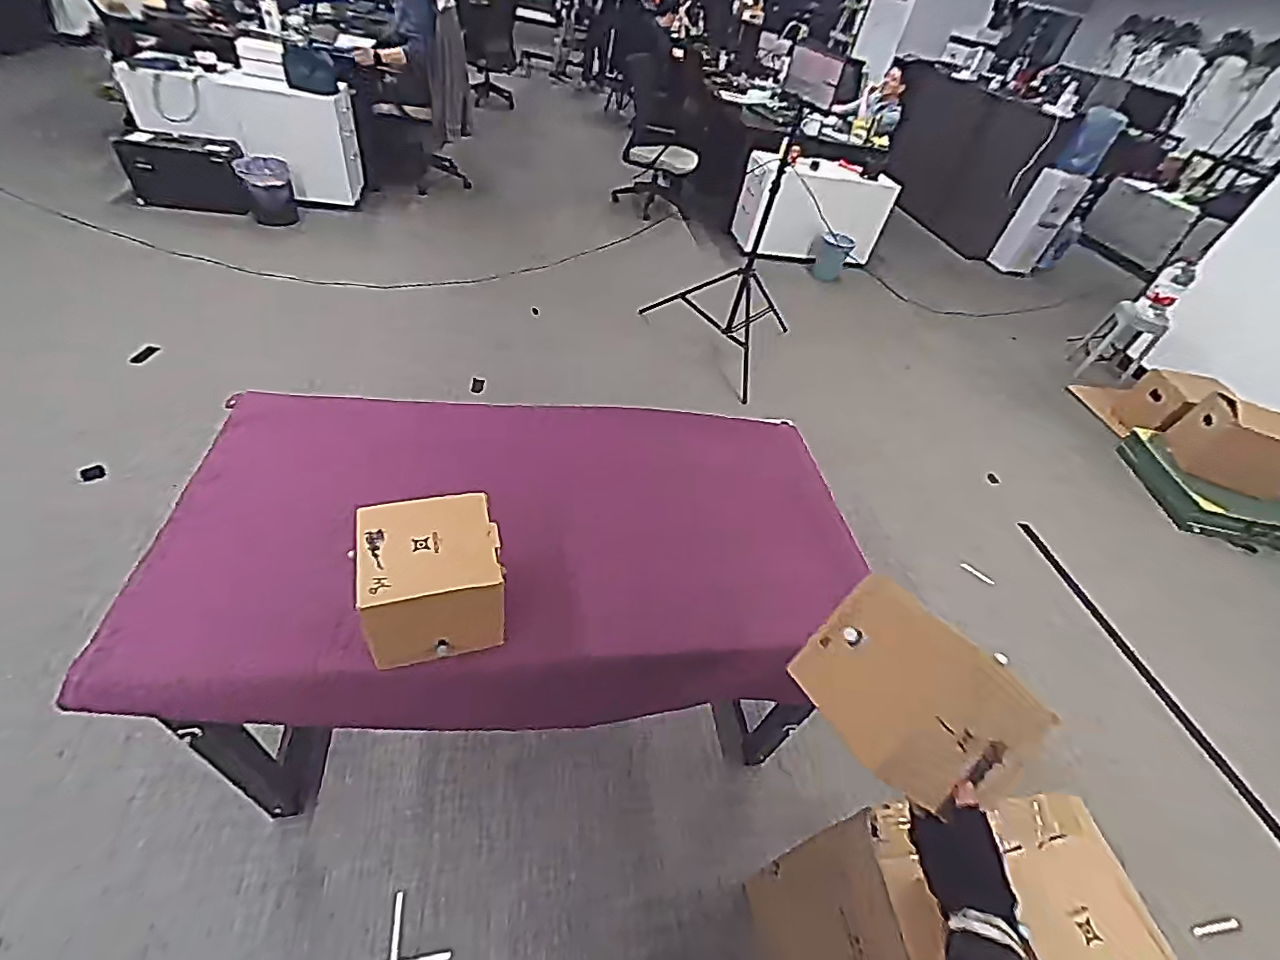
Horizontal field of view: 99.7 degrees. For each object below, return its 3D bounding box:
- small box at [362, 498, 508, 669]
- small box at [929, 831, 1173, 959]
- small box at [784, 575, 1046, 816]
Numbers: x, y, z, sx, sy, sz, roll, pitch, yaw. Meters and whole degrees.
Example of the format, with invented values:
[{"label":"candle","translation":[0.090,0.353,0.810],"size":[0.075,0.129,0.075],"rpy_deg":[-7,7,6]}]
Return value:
[{"label":"small box","translation":[-0.295,0.149,0.786],"size":[0.179,0.176,0.168],"rpy_deg":[-6,46,-21]},{"label":"small box","translation":[0.515,0.583,0.691],"size":[0.168,0.176,0.179],"rpy_deg":[-4,48,-14]},{"label":"small box","translation":[0.309,0.239,0.635],"size":[0.179,0.168,0.176],"rpy_deg":[37,3,-21]}]
